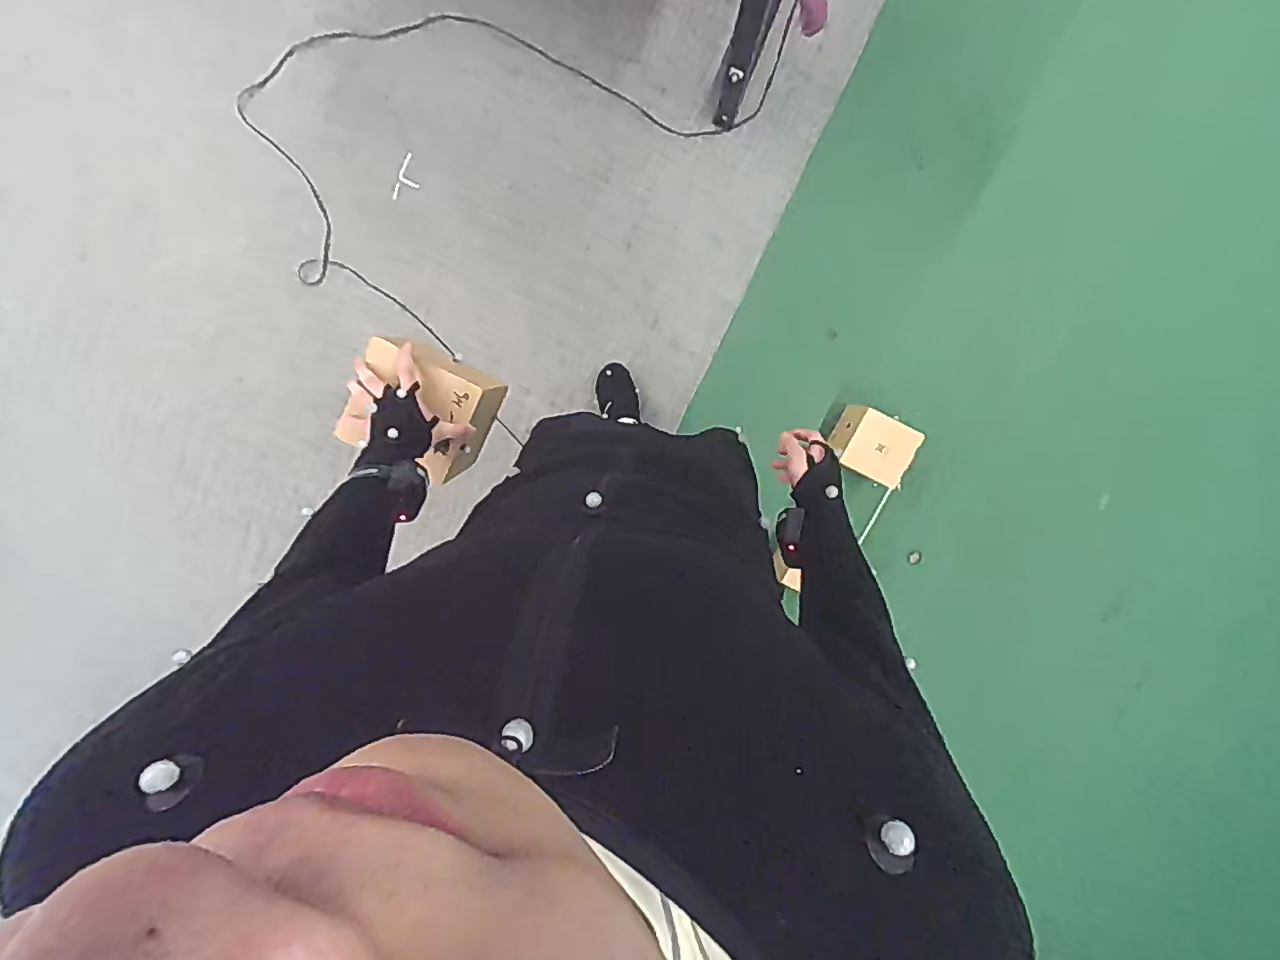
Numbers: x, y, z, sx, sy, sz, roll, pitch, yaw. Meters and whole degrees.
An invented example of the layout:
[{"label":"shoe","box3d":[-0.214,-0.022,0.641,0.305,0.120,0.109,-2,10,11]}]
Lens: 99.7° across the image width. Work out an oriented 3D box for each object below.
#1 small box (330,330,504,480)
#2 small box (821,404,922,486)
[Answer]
[{"label":"small box","box3d":[-0.345,-0.122,0.867,0.179,0.176,0.168,26,102,-6]},{"label":"small box","box3d":[0.638,-0.103,1.517,0.179,0.176,0.168,26,100,-5]}]
